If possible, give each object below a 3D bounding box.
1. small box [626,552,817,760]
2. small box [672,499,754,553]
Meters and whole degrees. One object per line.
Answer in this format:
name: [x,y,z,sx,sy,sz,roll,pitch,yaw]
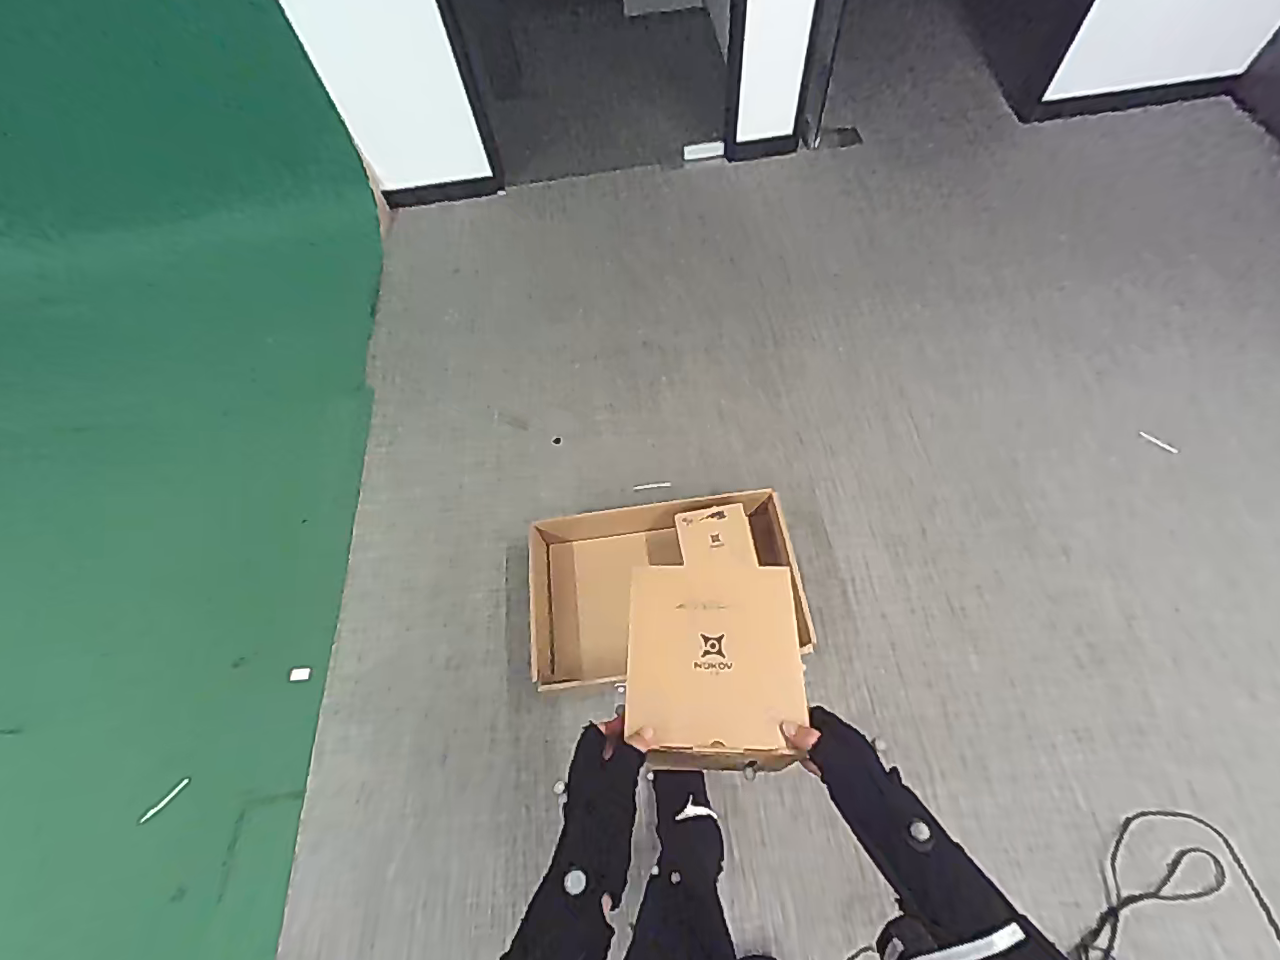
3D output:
small box: [0.077,0.190,0.570,0.168,0.176,0.179,0,57,3]
small box: [0.179,0.171,1.313,0.168,0.176,0.179,-13,62,0]
